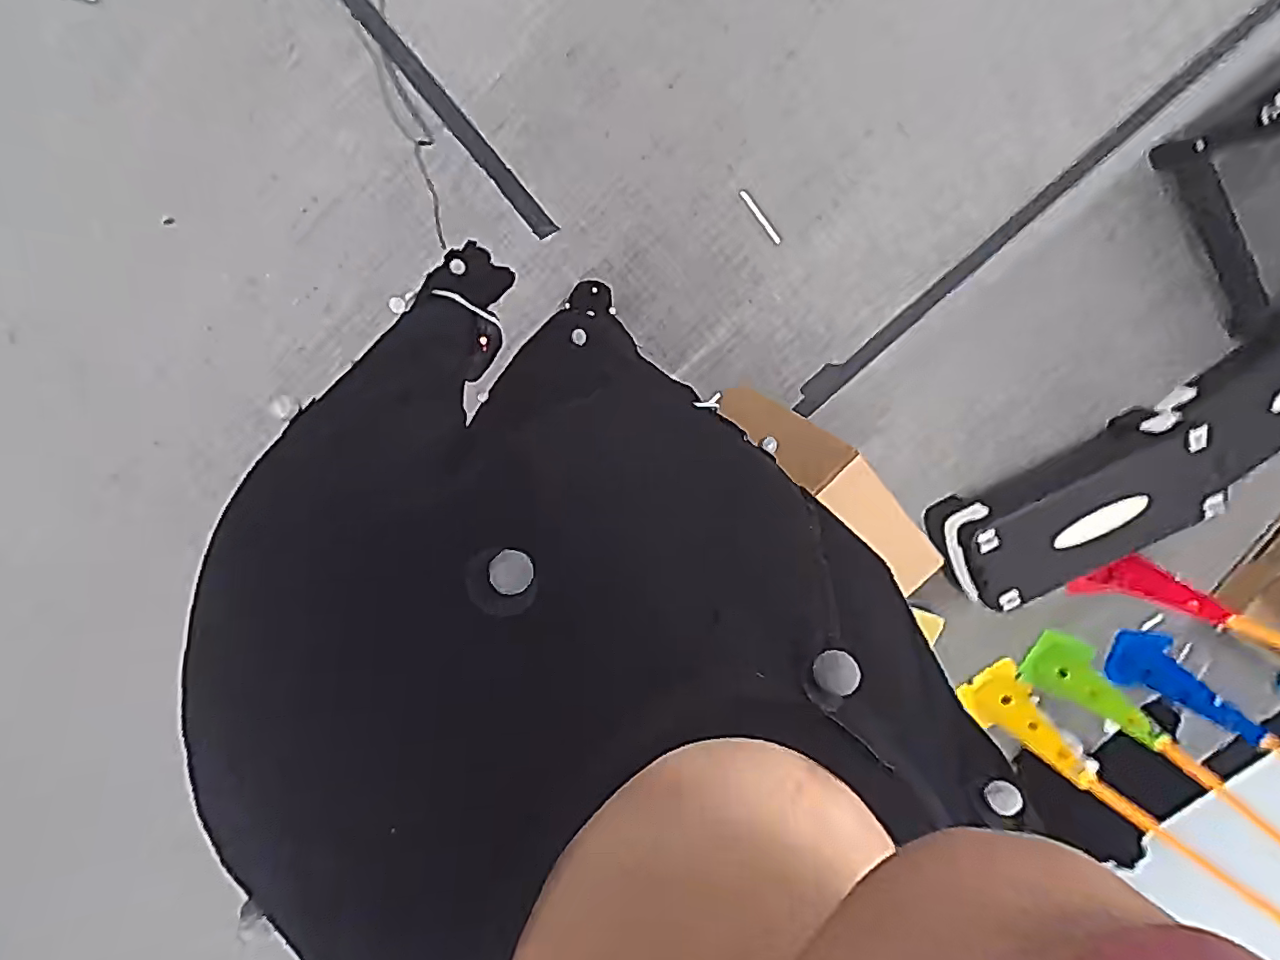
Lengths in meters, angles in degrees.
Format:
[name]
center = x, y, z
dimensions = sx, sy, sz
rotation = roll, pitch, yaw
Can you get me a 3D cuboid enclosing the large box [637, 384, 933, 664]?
[large box]
center = 0.253, 0.067, 1.047
dimensions = 0.320, 0.408, 0.320
rotation = -47, 118, 7
